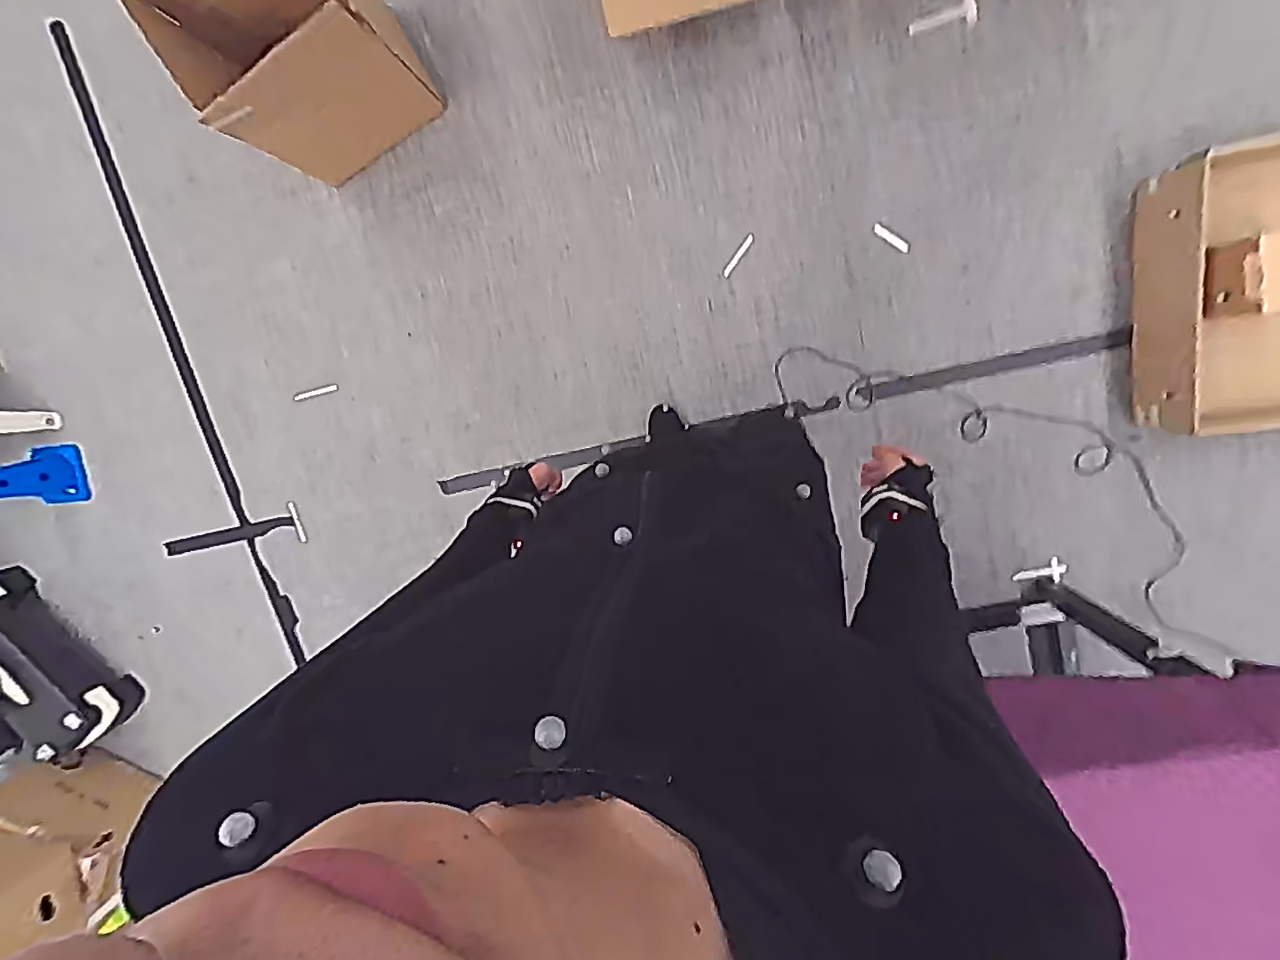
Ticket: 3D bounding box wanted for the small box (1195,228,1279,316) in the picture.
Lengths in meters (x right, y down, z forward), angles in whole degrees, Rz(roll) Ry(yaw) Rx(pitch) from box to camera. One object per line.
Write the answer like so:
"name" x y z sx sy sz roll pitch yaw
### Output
"small box" 1.410 -0.475 1.218 0.179 0.176 0.168 -12 101 9
